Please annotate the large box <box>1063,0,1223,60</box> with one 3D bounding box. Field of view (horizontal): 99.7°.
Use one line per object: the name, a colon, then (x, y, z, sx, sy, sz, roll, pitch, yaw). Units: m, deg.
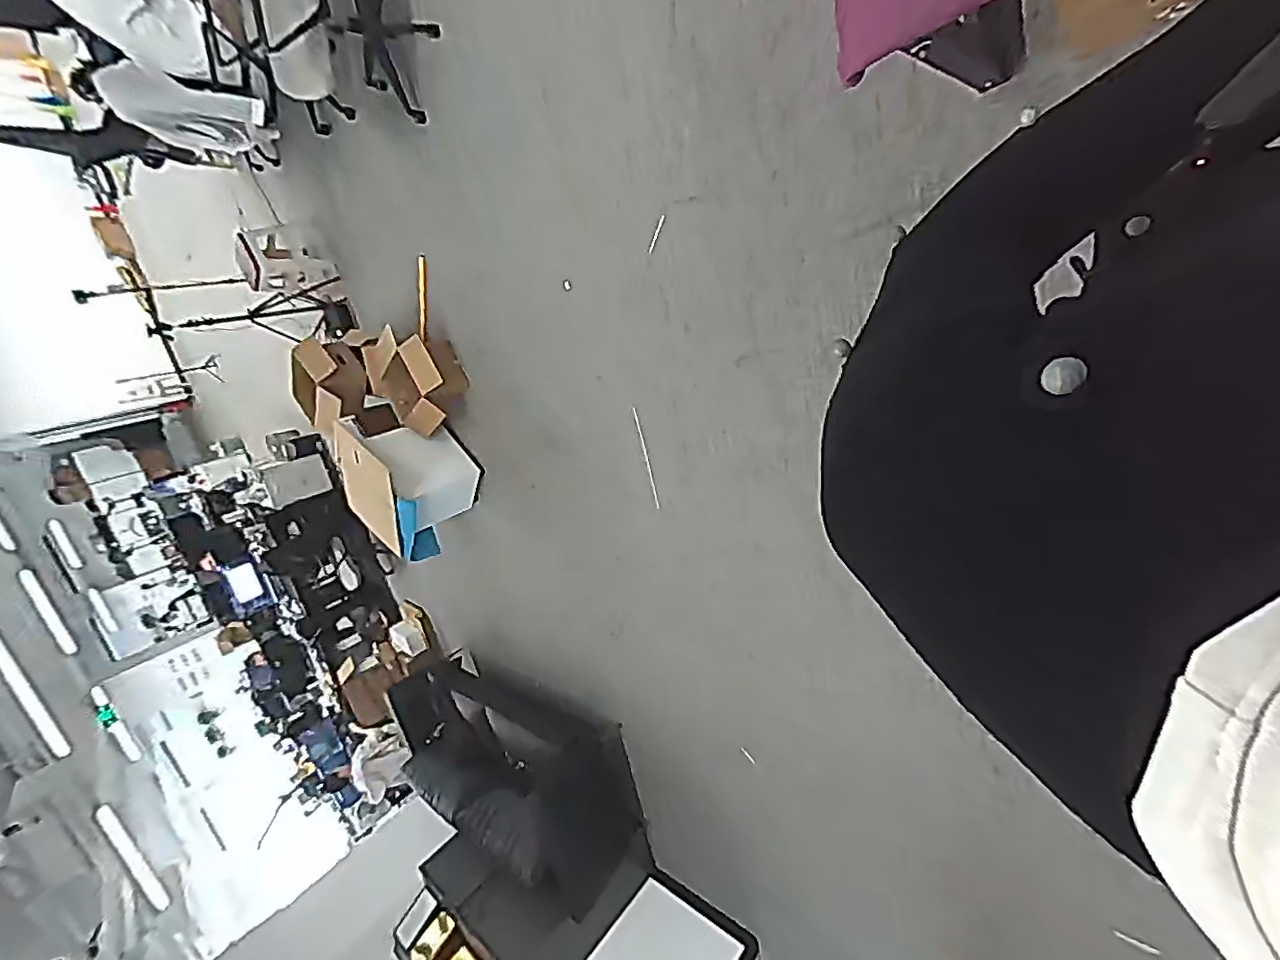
large box: (0.878, -0.999, 0.861, 0.320, 0.320, 0.408, -2, 108, 45)
